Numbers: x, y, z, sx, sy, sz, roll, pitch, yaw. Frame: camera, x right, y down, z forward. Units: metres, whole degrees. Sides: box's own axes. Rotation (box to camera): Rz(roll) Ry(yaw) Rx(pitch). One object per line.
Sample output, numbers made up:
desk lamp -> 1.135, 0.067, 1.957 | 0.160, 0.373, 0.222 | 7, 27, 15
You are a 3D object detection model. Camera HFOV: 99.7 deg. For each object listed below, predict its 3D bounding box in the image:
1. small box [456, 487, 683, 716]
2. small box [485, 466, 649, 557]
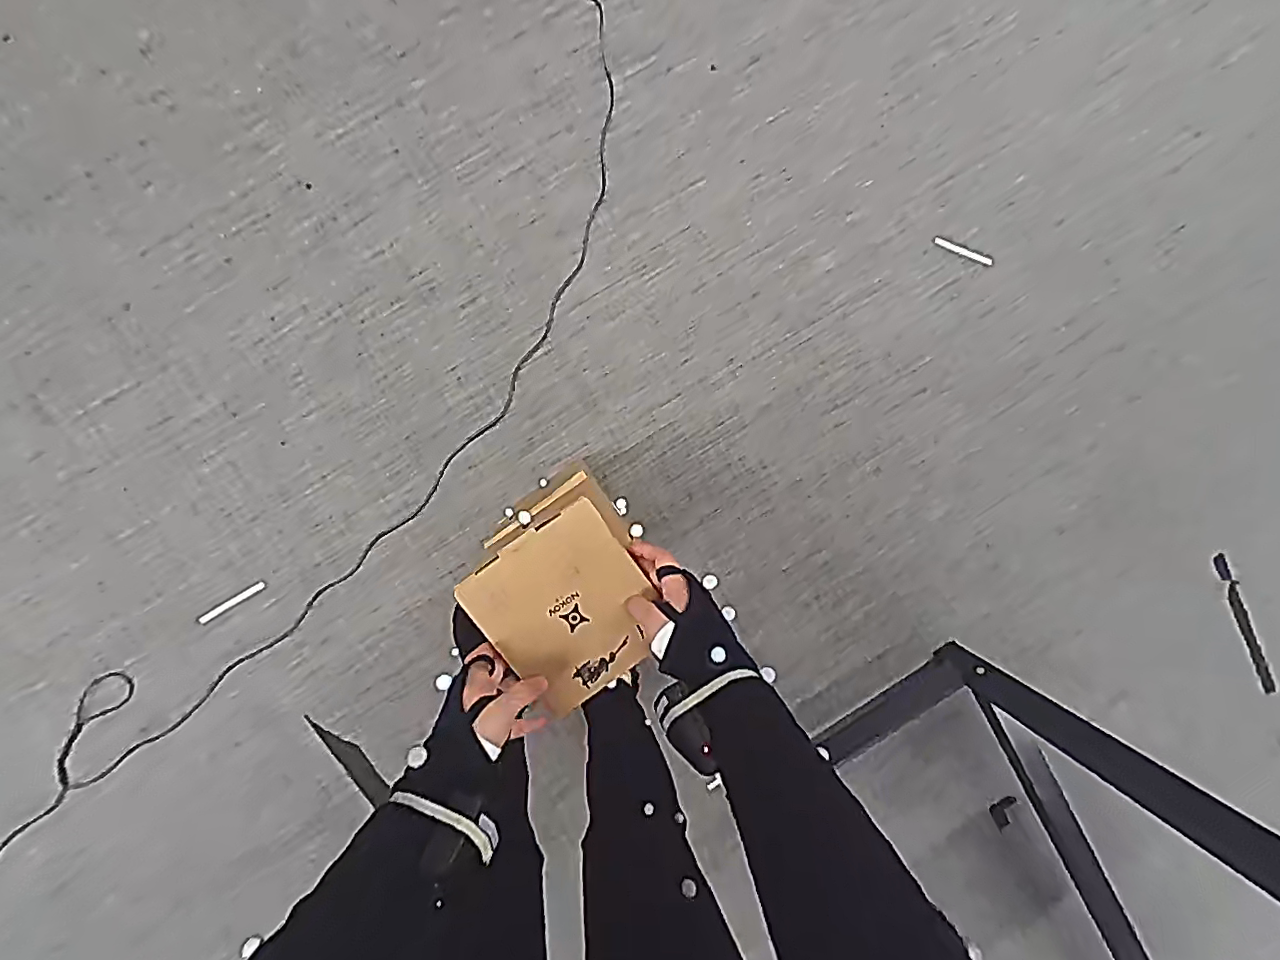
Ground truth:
small box -> -0.075, 0.120, 0.623 | 0.168, 0.176, 0.179 | -36, 97, 1
small box -> -0.110, 0.095, 0.840 | 0.179, 0.176, 0.168 | -39, 100, -3
